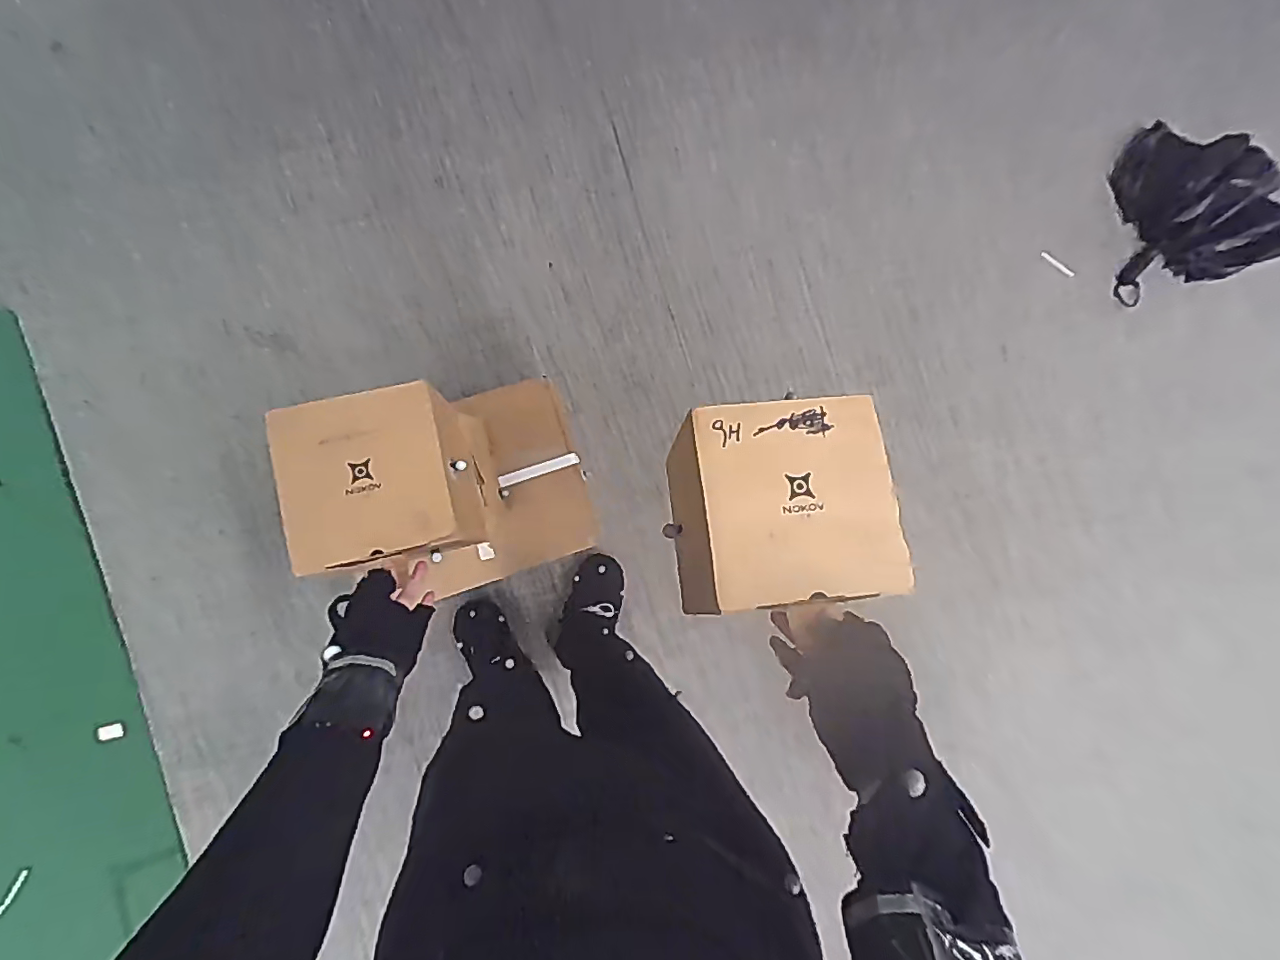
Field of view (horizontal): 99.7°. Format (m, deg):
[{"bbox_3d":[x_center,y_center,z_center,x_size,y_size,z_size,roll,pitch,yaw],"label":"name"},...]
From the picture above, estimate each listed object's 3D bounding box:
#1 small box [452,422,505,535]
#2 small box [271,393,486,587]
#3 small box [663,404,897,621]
[{"bbox_3d":[-0.315,0.014,0.823,0.179,0.176,0.168,-19,97,-5],"label":"small box"},{"bbox_3d":[-0.293,0.017,0.643,0.168,0.176,0.179,-14,83,-7],"label":"small box"},{"bbox_3d":[0.120,0.040,0.537,0.168,0.176,0.179,-5,77,-6],"label":"small box"}]
